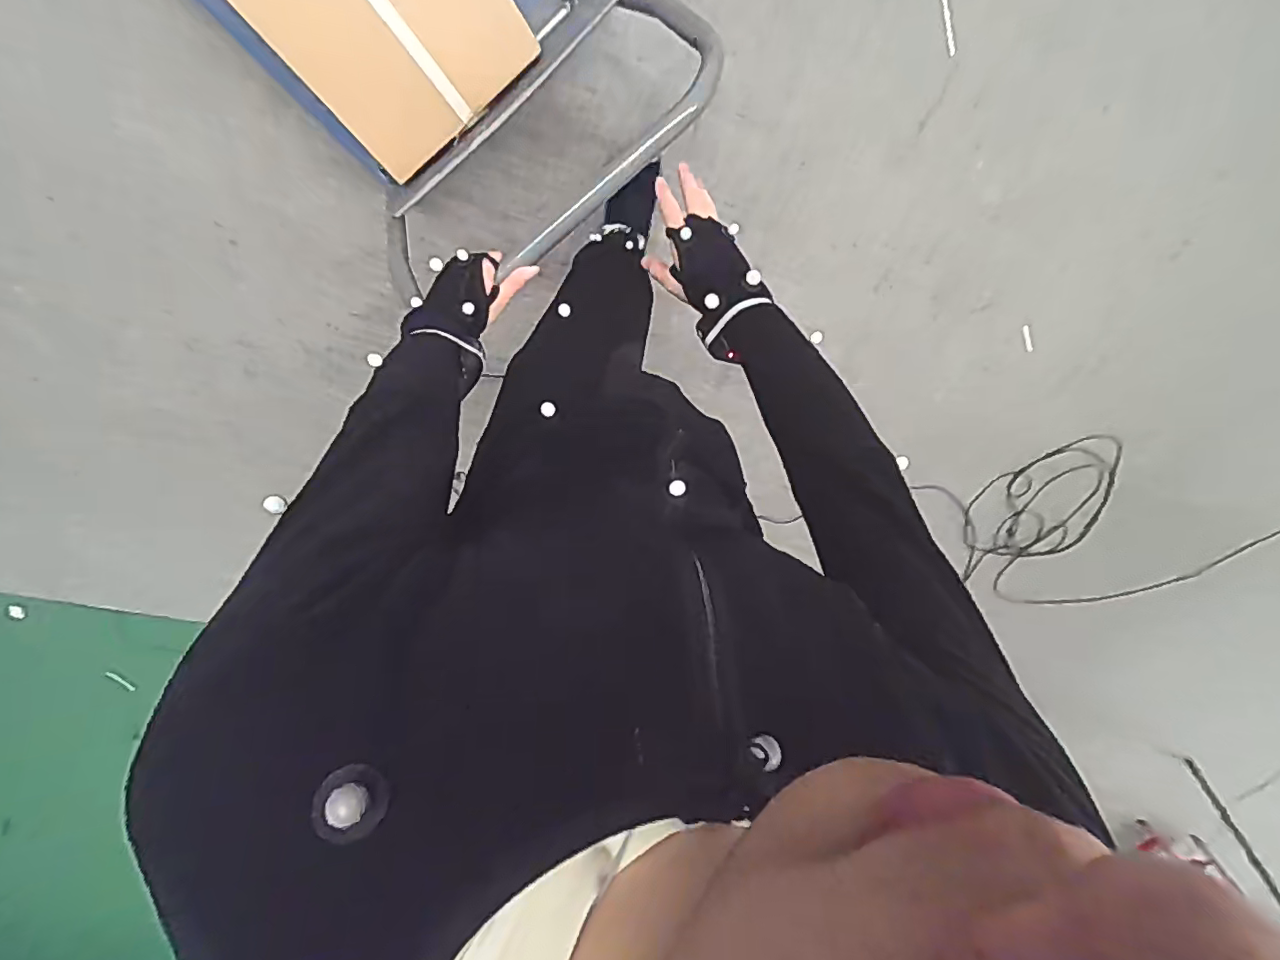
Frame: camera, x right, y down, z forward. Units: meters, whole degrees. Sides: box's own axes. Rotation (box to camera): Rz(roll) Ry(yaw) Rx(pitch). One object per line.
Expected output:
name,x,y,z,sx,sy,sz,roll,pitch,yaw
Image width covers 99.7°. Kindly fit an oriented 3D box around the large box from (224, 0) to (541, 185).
large box,-0.418,-0.770,0.850,0.320,0.320,0.408,-36,132,11
